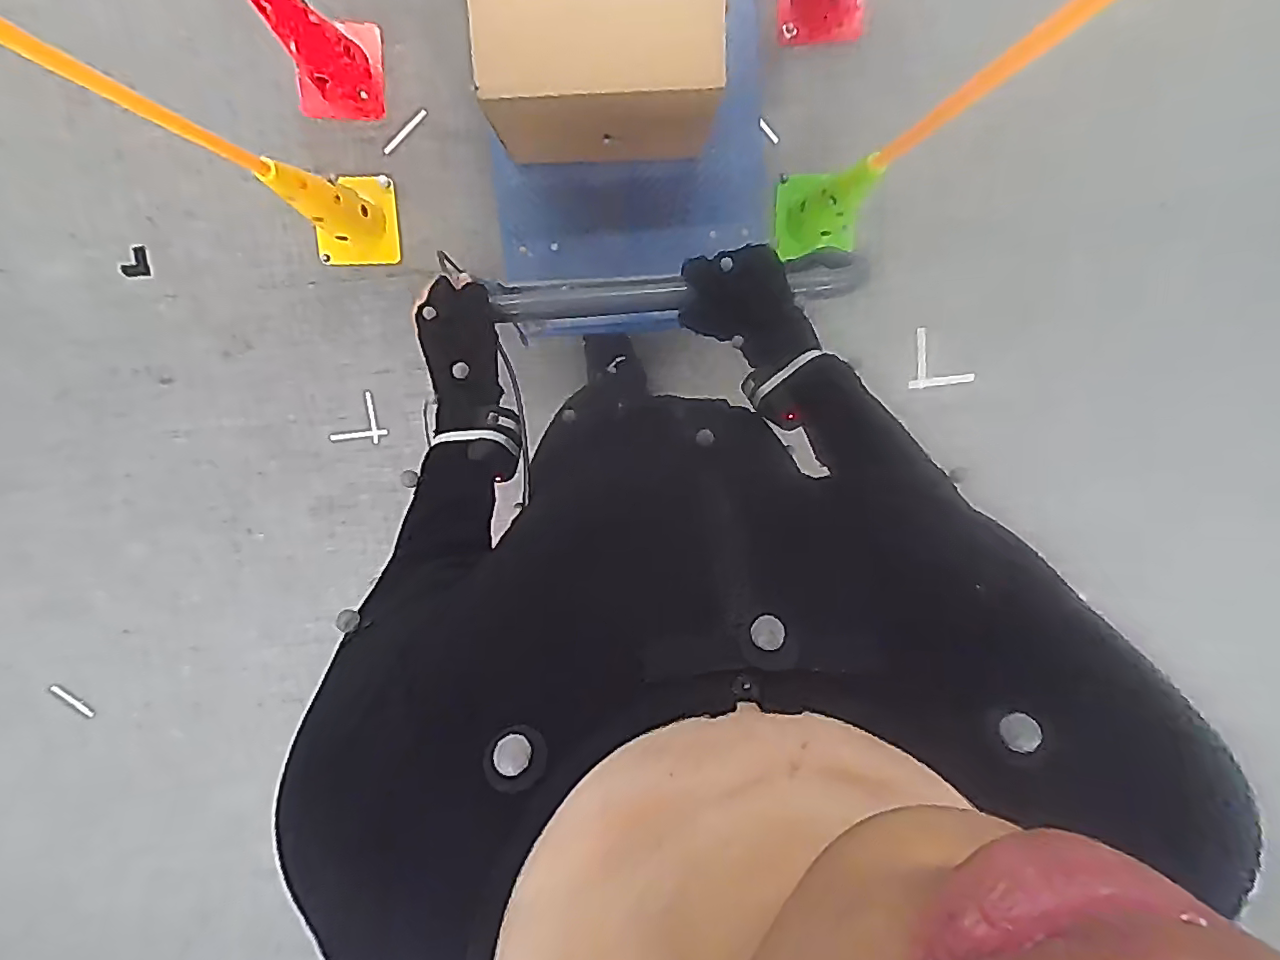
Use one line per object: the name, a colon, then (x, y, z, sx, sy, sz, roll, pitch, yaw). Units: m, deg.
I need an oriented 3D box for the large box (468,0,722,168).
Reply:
large box: (-0.073, -0.799, 0.991, 0.408, 0.320, 0.320, -3, 102, 1)

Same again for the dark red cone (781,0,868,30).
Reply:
dark red cone: (0.423, -1.101, 1.064, 0.201, 0.394, 0.202, -5, 102, -2)

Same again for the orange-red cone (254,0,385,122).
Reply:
orange-red cone: (-0.697, -0.928, 1.104, 0.198, 0.360, 0.199, 3, 100, -2)

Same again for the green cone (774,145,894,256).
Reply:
green cone: (0.441, -0.629, 1.176, 0.202, 0.368, 0.200, -1, 101, -2)
